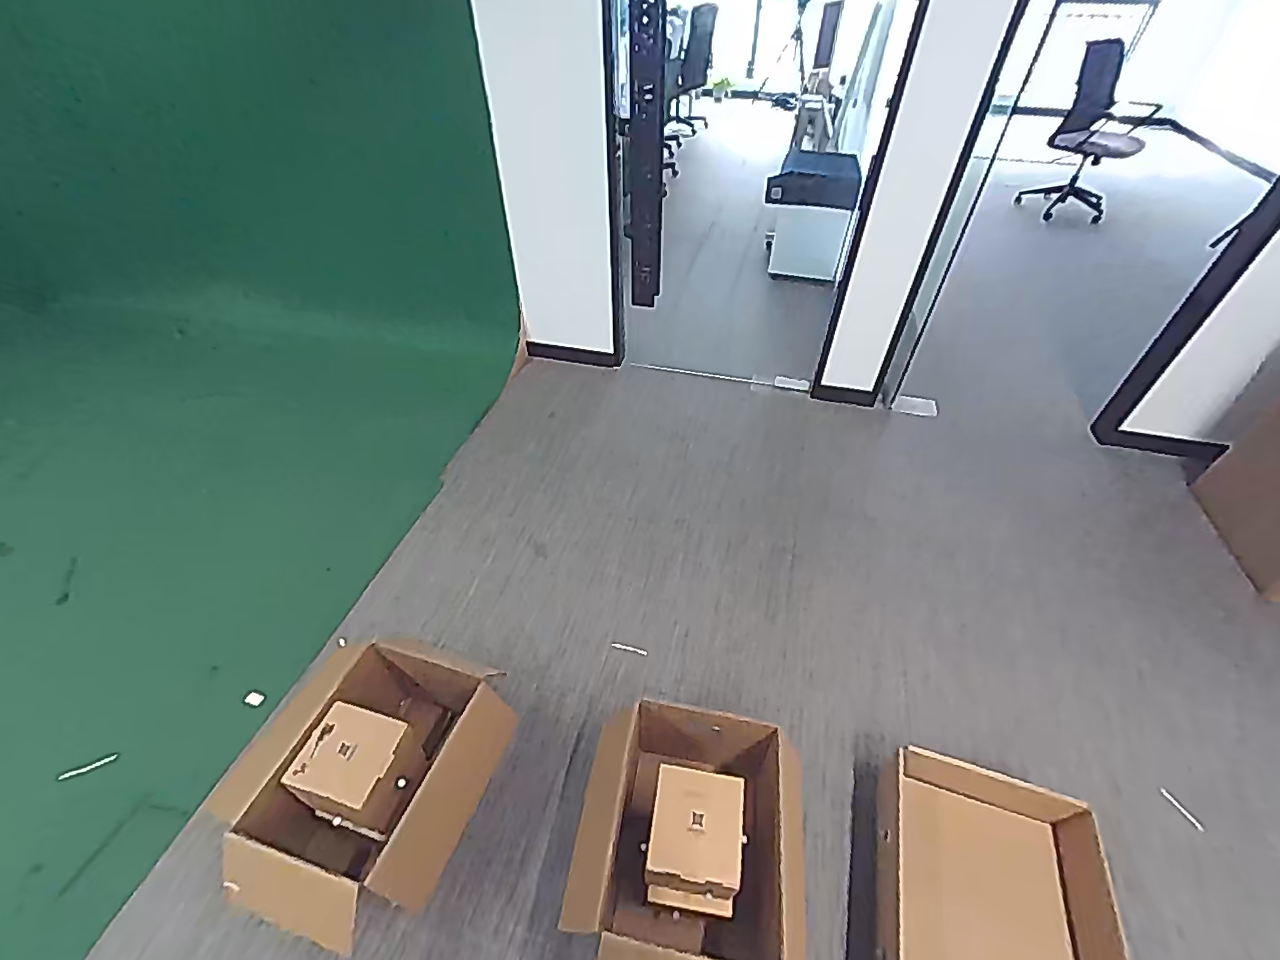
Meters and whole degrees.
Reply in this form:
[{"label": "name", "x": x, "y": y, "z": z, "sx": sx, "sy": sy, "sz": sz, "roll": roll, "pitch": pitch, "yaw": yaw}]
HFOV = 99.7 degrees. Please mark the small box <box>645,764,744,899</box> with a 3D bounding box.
[{"label": "small box", "x": 0.104, "y": 0.680, "z": 1.042, "sx": 0.168, "sy": 0.176, "sz": 0.179, "roll": 8, "pitch": 47, "yaw": 6}]
